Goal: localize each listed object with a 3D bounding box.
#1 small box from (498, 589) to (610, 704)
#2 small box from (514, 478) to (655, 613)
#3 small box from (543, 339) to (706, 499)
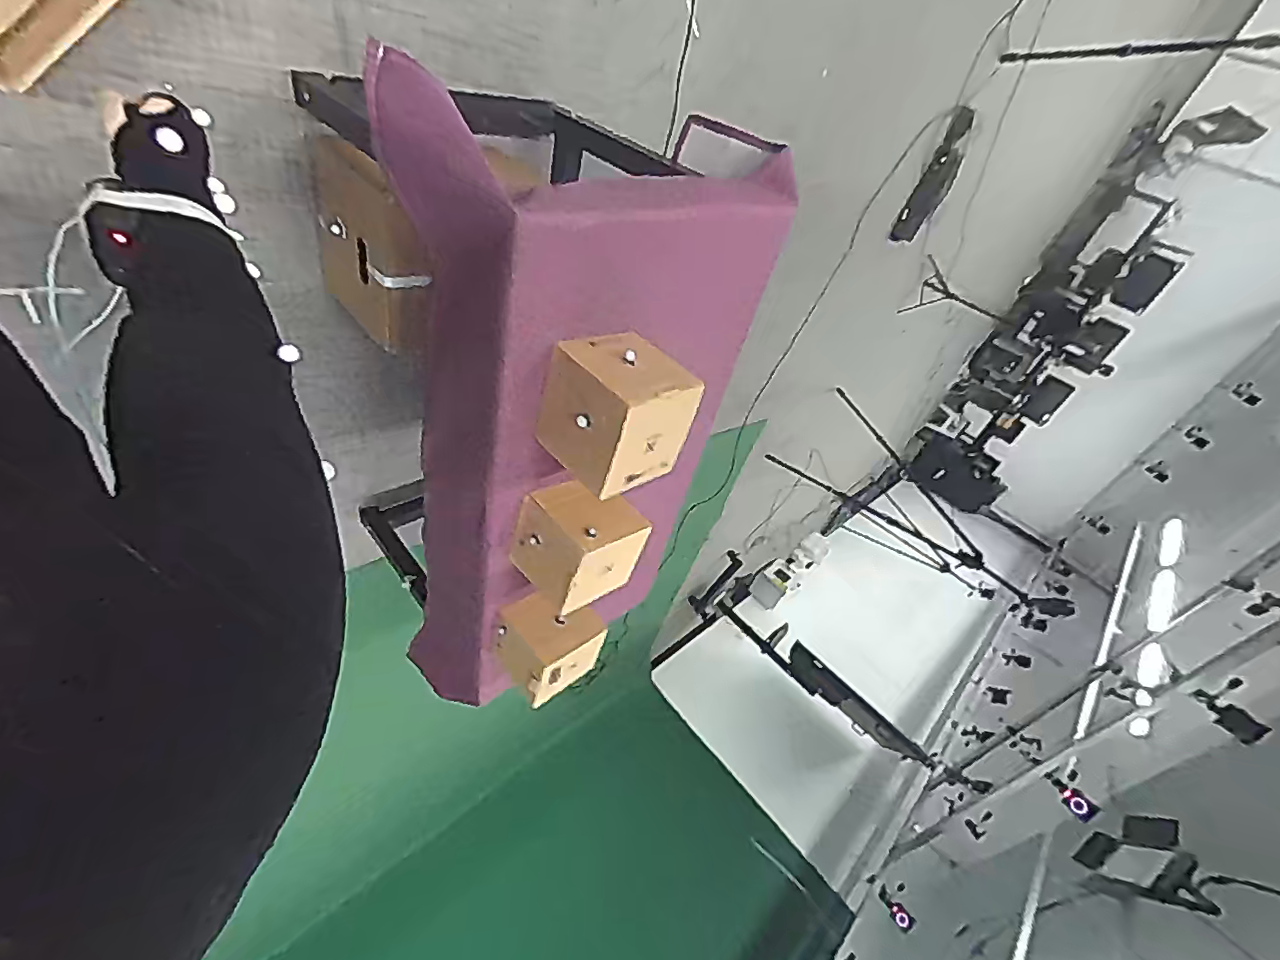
[{"bbox_3d":[-0.200,0.356,1.219,0.179,0.176,0.168,-23,144,-42],"label":"small box"},{"bbox_3d":[-0.109,0.113,1.030,0.179,0.176,0.168,-17,140,-44],"label":"small box"},{"bbox_3d":[-0.032,-0.106,0.844,0.168,0.176,0.179,-22,143,-41],"label":"small box"}]
